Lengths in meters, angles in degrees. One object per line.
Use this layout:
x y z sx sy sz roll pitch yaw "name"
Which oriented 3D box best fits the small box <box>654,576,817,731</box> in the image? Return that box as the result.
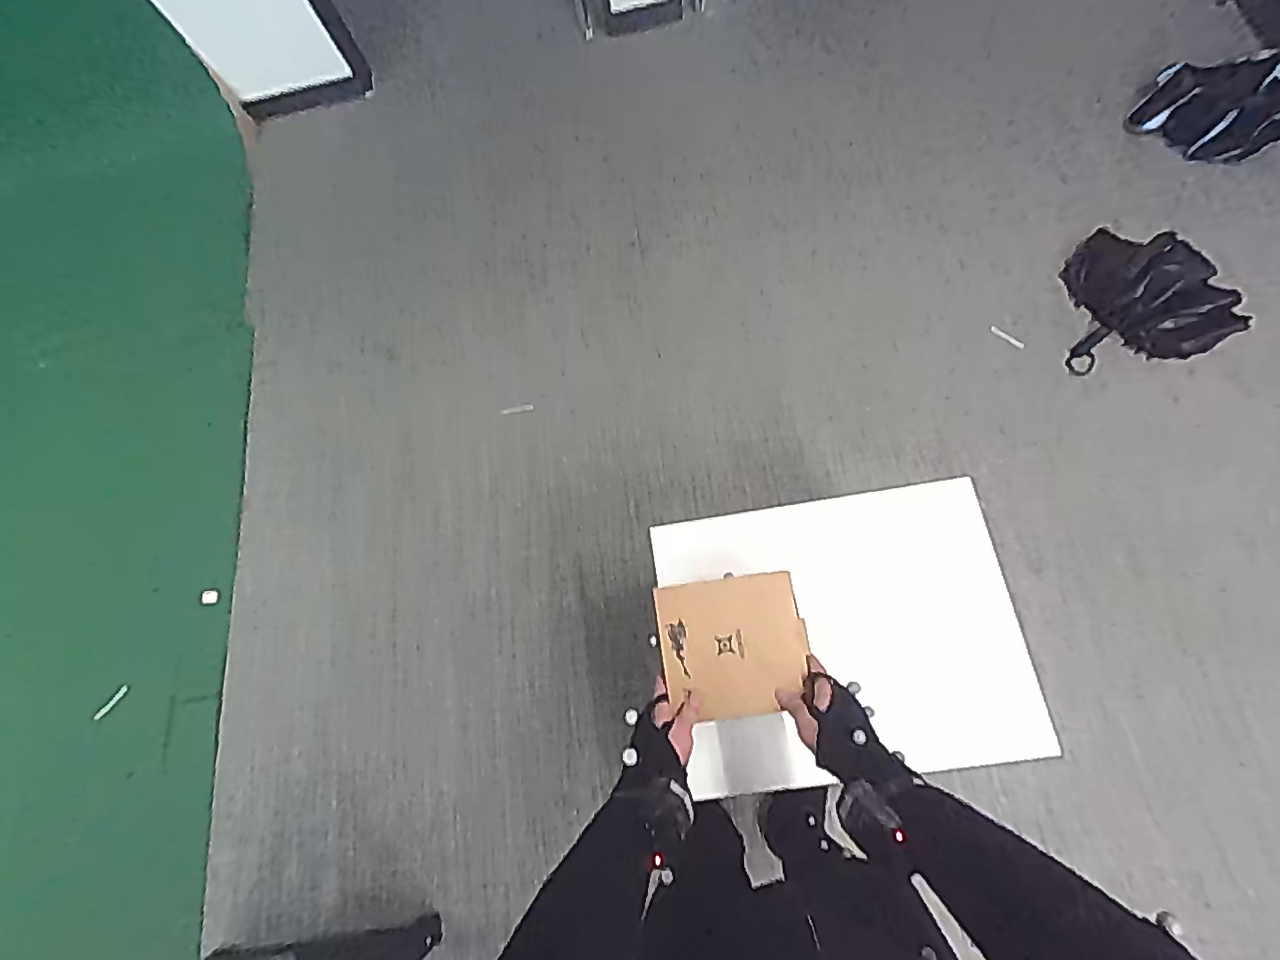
0.117 0.227 0.728 0.179 0.176 0.168 -9 73 3 "small box"
